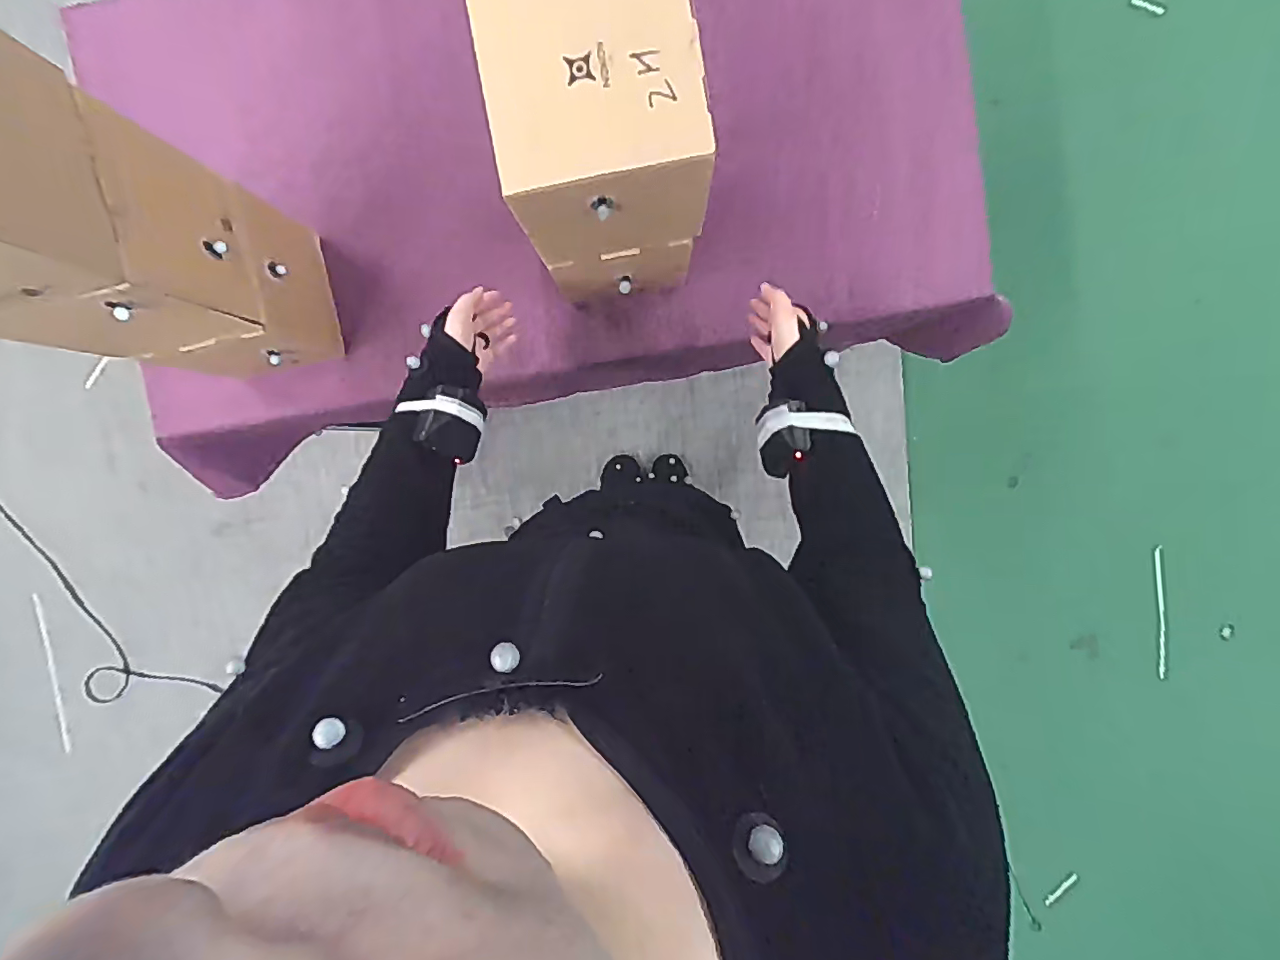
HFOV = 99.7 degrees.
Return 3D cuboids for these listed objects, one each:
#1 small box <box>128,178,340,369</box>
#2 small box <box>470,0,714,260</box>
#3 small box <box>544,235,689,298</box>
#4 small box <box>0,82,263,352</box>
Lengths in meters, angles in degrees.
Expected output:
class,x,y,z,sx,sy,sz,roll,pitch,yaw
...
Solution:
class,x,y,z,sx,sy,sz,roll,pitch,yaw
small box,-0.515,-0.244,0.687,0.168,0.176,0.179,-10,93,1
small box,-0.035,-0.324,0.506,0.179,0.176,0.168,-9,94,2
small box,-0.034,-0.337,0.672,0.168,0.176,0.179,-9,95,1
small box,-0.522,-0.232,0.525,0.179,0.176,0.168,-12,94,0
